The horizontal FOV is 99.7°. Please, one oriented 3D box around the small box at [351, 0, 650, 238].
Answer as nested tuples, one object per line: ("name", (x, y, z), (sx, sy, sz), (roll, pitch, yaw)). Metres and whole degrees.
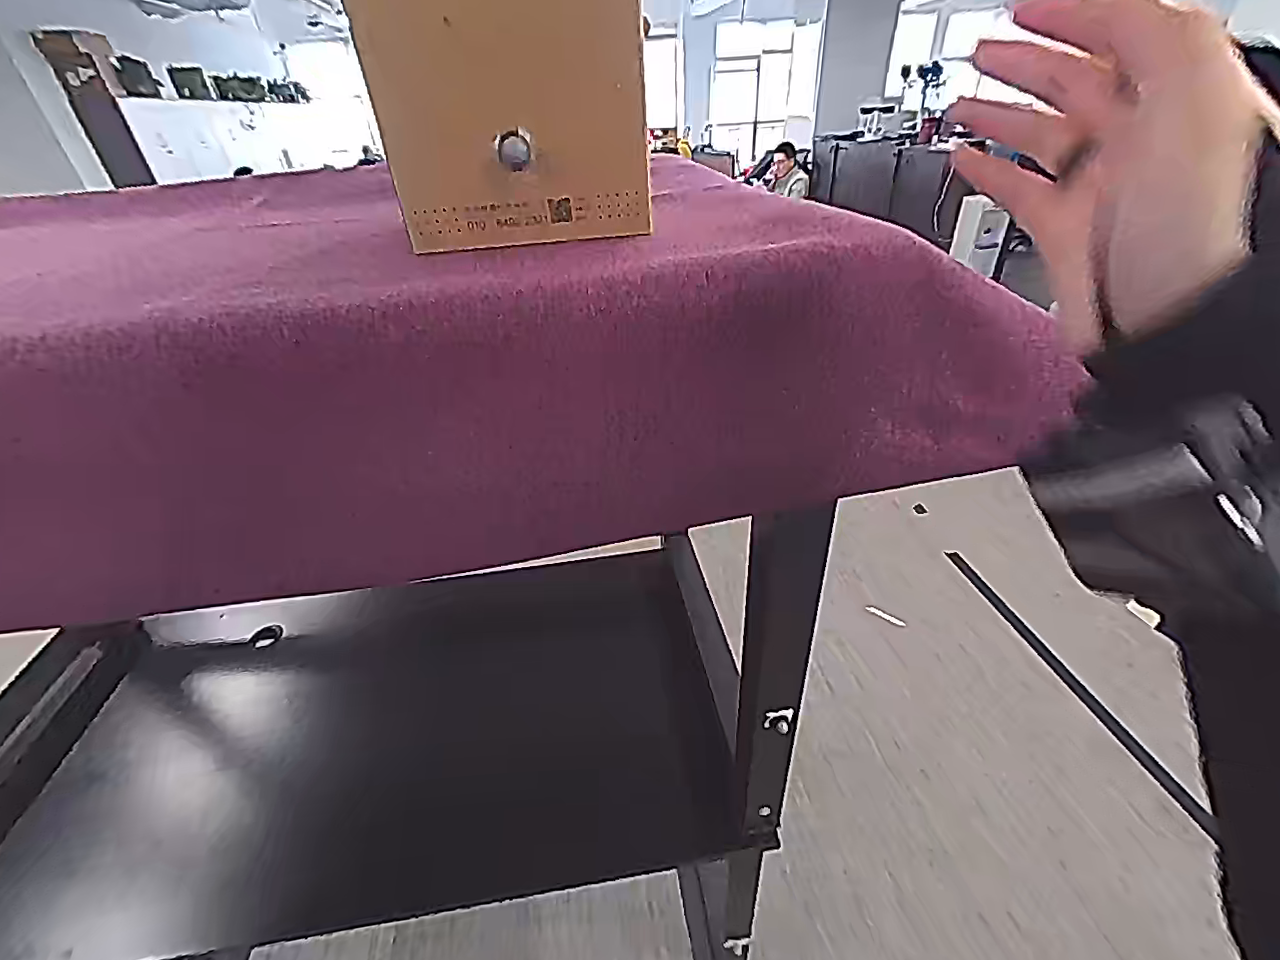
("small box", (-0.083, -0.277, 0.384), (0.168, 0.176, 0.179), (-6, 34, -1))
